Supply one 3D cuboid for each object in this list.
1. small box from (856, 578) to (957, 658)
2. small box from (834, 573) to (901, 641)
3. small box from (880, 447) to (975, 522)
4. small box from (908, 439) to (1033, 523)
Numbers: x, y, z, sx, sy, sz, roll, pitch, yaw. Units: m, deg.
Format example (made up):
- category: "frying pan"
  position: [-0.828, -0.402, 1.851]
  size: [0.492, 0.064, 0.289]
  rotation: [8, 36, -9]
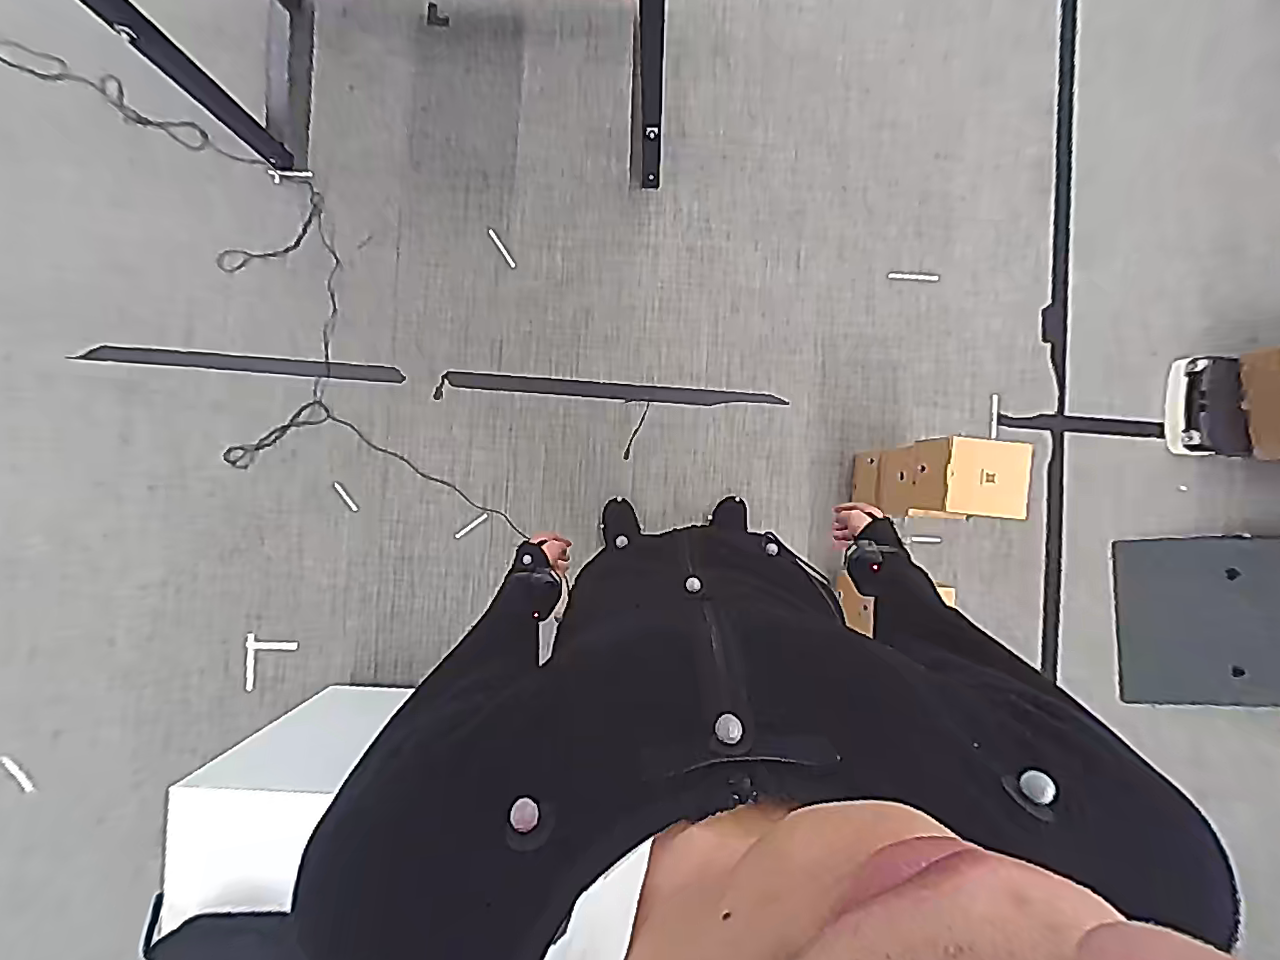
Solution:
- category: "small box"
  position: [0.681, 0.348, 1.394]
  size: [0.179, 0.176, 0.168]
  rotation: [3, 88, 1]
- category: "small box"
  position: [0.679, 0.363, 1.559]
  size: [0.179, 0.176, 0.168]
  rotation: [2, 88, 1]
- category: "small box"
  position: [0.738, 0.012, 1.395]
  size: [0.168, 0.176, 0.179]
  rotation: [4, 90, 0]
- category: "small box"
  position: [0.745, 0.001, 1.233]
  size: [0.179, 0.176, 0.168]
  rotation: [6, 90, 1]
